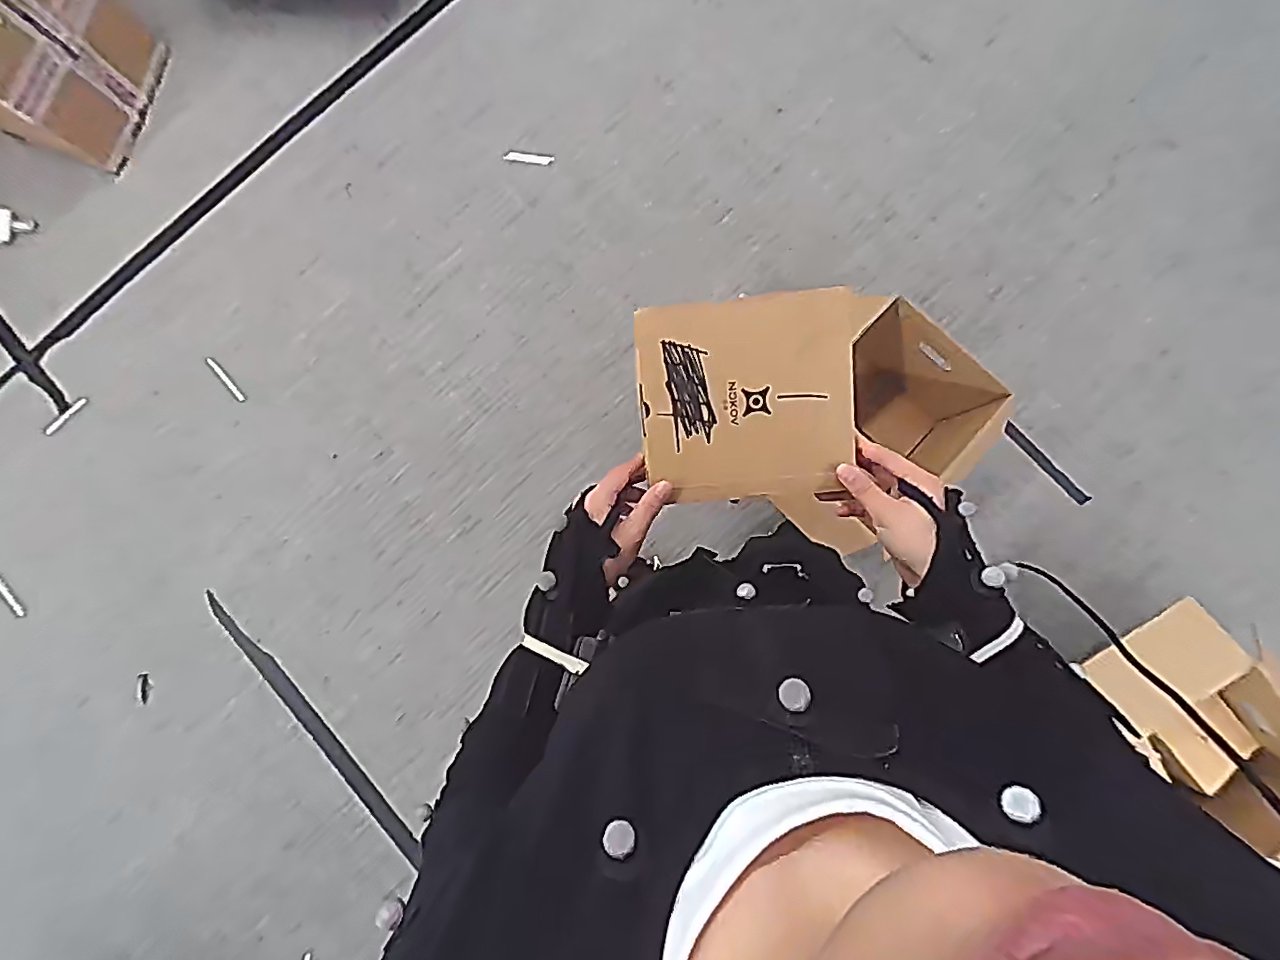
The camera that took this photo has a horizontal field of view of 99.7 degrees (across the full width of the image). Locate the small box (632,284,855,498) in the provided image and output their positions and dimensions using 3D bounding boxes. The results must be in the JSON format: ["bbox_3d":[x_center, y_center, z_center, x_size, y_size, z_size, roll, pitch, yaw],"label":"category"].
[{"bbox_3d":[0.095,-0.081,0.521,0.179,0.176,0.168,-4,100,8],"label":"small box"}]
